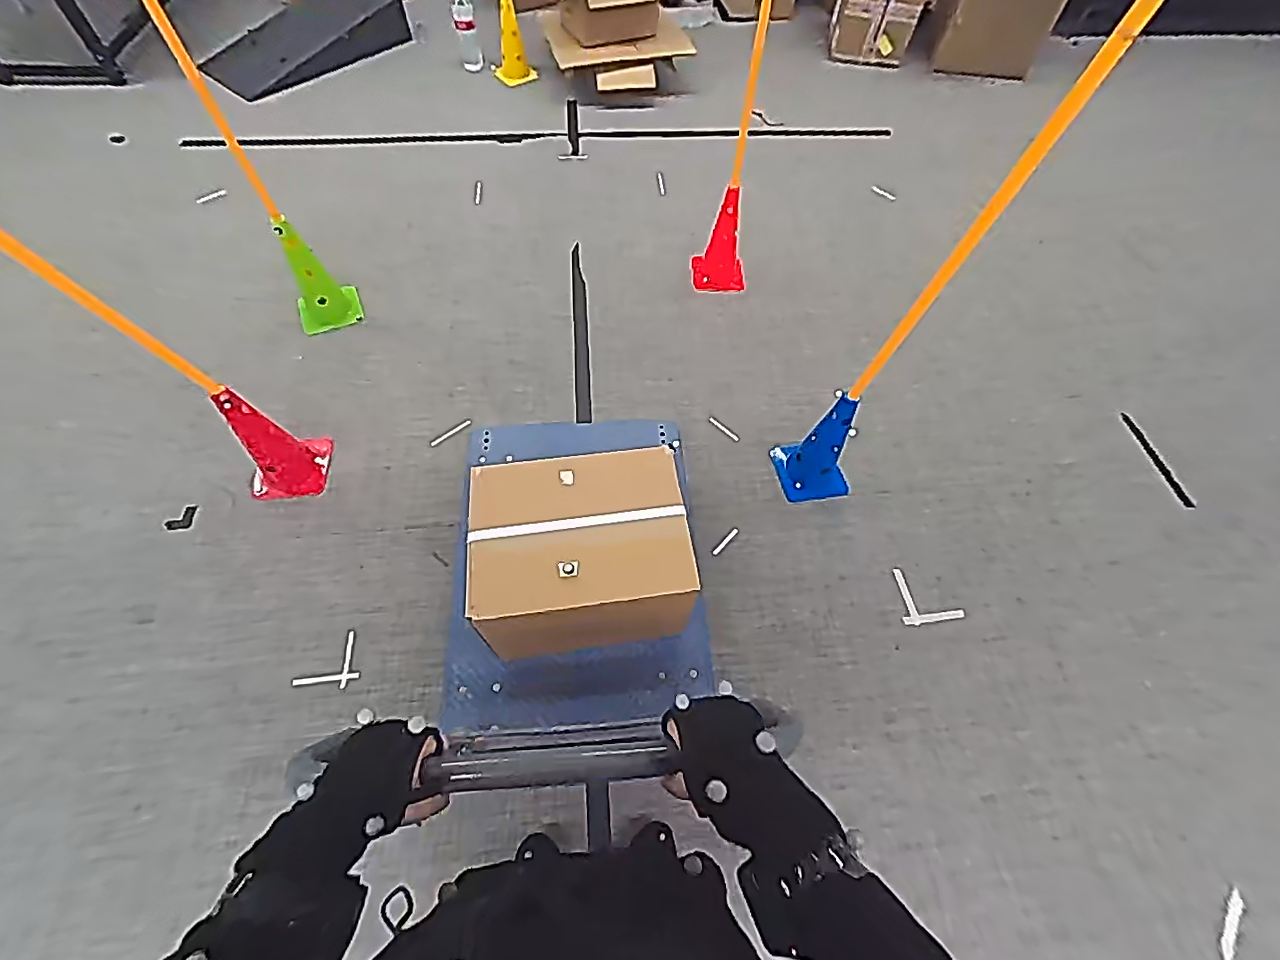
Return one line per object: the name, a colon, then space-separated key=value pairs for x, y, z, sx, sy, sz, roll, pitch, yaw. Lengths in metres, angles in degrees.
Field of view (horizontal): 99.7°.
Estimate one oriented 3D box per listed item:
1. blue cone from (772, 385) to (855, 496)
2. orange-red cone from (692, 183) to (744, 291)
blue cone: x=0.525 y=-0.122 z=1.526 sx=0.193 sy=0.380 sz=0.192 roll=-7 pitch=59 yaw=-7
orange-red cone: x=0.312 y=-0.895 z=1.960 sx=0.199 sy=0.360 sz=0.198 roll=3 pitch=60 yaw=-2
